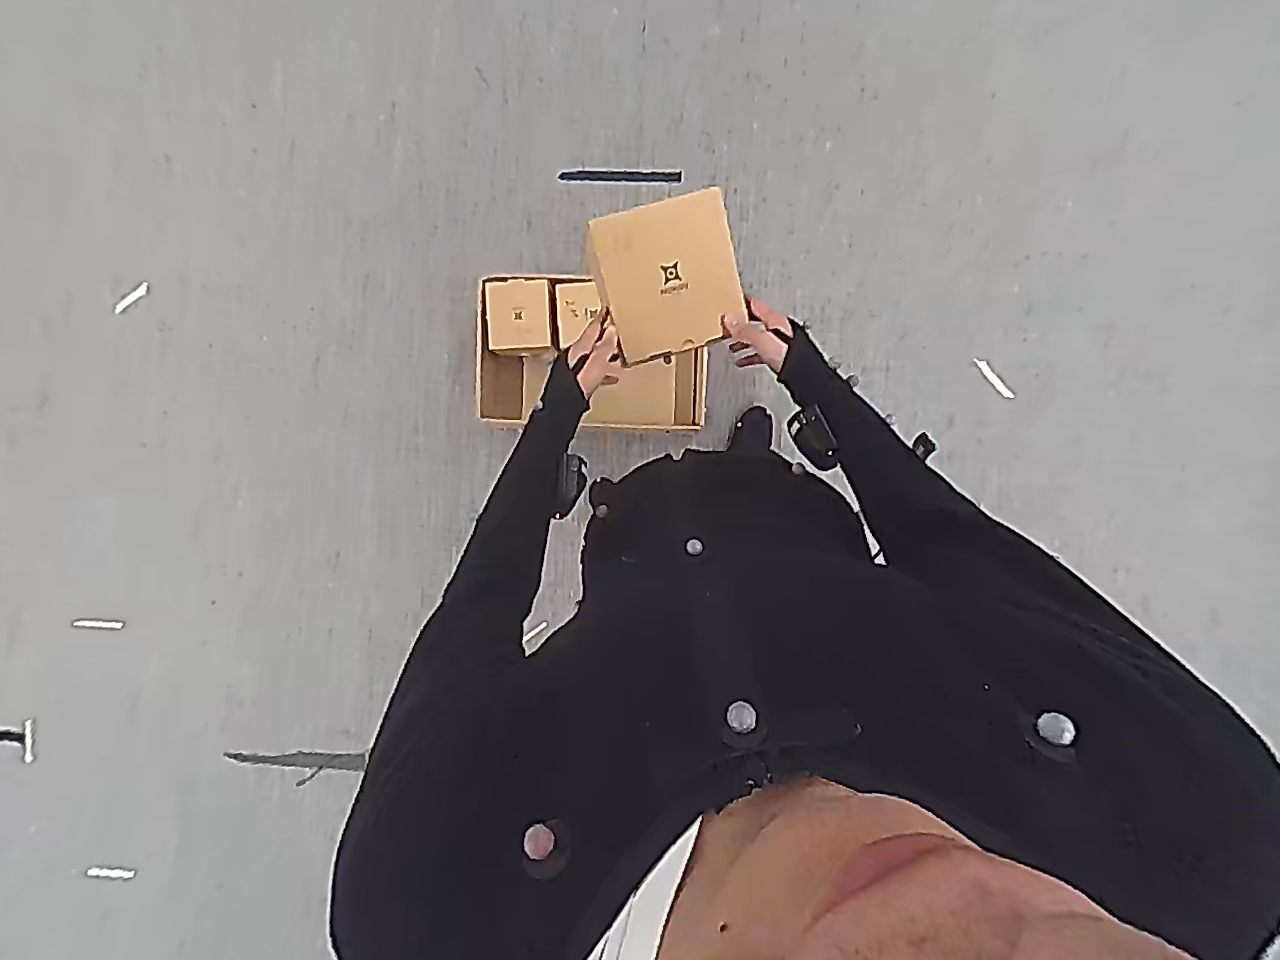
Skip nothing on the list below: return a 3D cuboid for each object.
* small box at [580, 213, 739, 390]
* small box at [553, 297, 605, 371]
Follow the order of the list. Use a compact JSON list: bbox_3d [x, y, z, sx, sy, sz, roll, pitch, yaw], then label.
[{"bbox_3d":[0.018,-0.232,0.747,0.168,0.176,0.179,-17,99,-3],"label":"small box"},{"bbox_3d":[-0.138,-0.401,1.494,0.179,0.176,0.168,-4,92,0],"label":"small box"}]
